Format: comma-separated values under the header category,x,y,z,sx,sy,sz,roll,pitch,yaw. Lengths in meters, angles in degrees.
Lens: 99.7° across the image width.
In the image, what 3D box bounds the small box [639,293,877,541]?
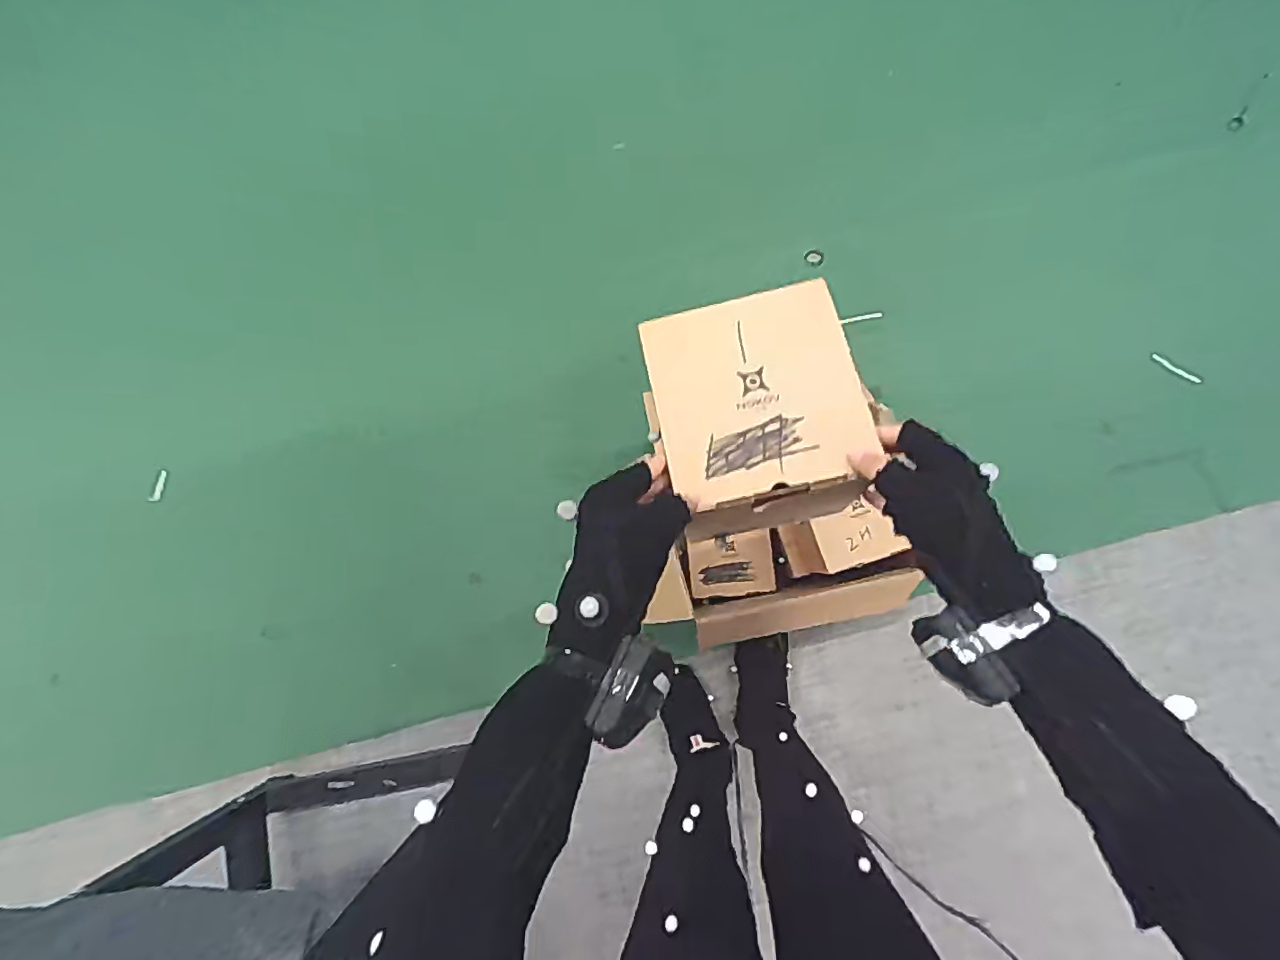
category,x,y,z,sx,sy,sz,roll,pitch,yaw
small box,0.104,-0.043,0.526,0.168,0.176,0.179,-13,73,5
